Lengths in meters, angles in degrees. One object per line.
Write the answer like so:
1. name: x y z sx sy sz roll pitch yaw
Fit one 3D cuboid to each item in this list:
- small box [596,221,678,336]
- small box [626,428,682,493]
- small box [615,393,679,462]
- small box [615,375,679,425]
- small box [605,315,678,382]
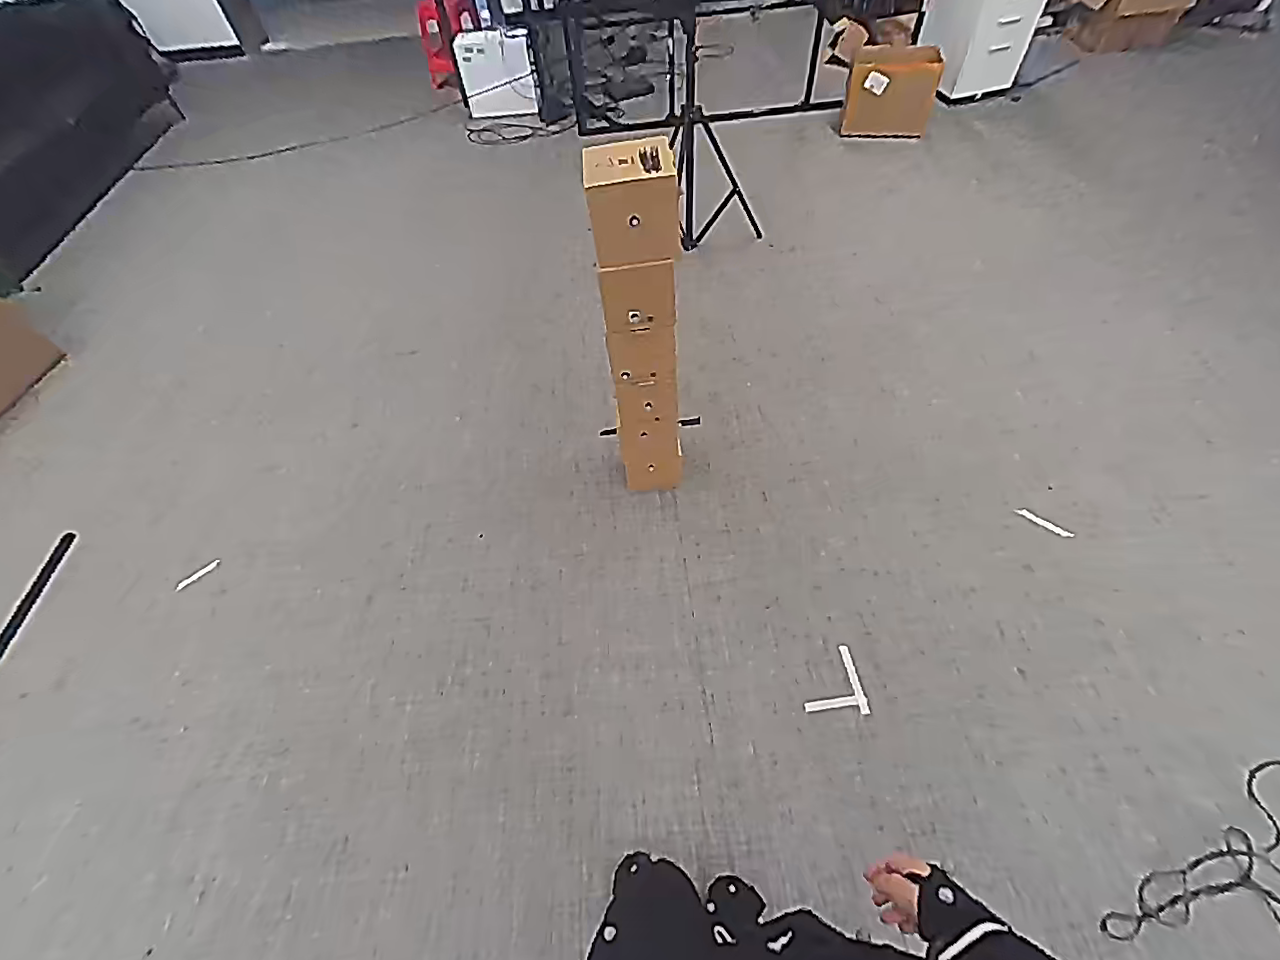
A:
1. small box: -0.005 -0.456 1.233 0.168 0.176 0.179 -8 55 1
2. small box: 0.042 -0.075 1.761 0.179 0.176 0.168 -6 54 1
3. small box: 0.023 -0.167 1.626 0.179 0.176 0.168 -4 55 2
4. small box: 0.020 -0.265 1.496 0.168 0.176 0.179 -5 55 2
5. small box: 0.004 -0.362 1.364 0.168 0.176 0.179 -6 53 2
